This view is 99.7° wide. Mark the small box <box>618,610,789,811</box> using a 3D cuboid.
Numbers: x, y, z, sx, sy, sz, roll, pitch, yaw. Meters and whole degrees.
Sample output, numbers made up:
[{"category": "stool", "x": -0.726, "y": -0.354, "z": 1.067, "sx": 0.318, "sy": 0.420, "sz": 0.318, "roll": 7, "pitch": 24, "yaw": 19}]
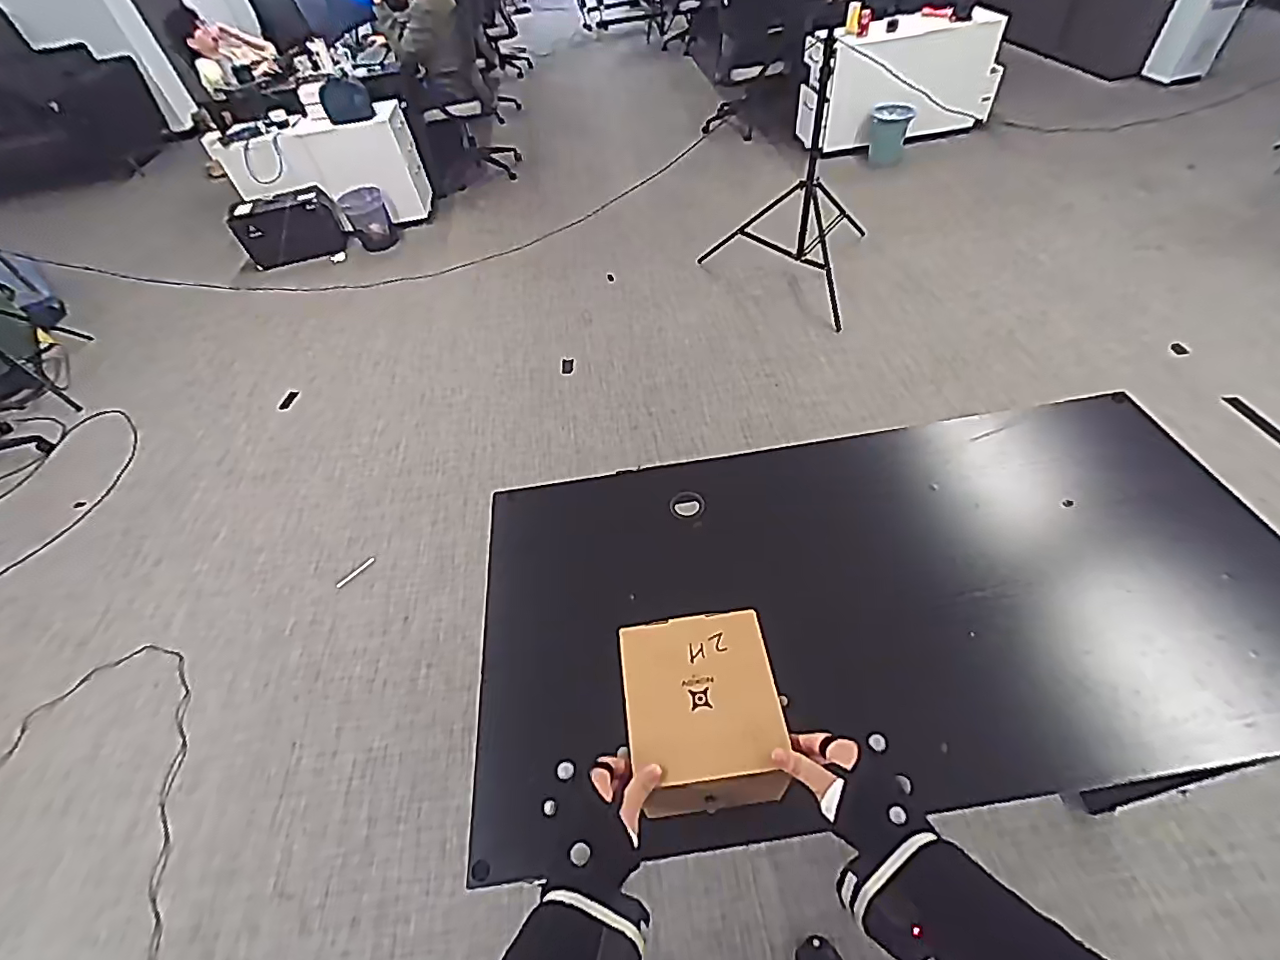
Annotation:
[{"category": "small box", "x": 0.071, "y": 0.284, "z": 0.653, "sx": 0.168, "sy": 0.176, "sz": 0.179, "roll": -9, "pitch": 49, "yaw": 0}]
